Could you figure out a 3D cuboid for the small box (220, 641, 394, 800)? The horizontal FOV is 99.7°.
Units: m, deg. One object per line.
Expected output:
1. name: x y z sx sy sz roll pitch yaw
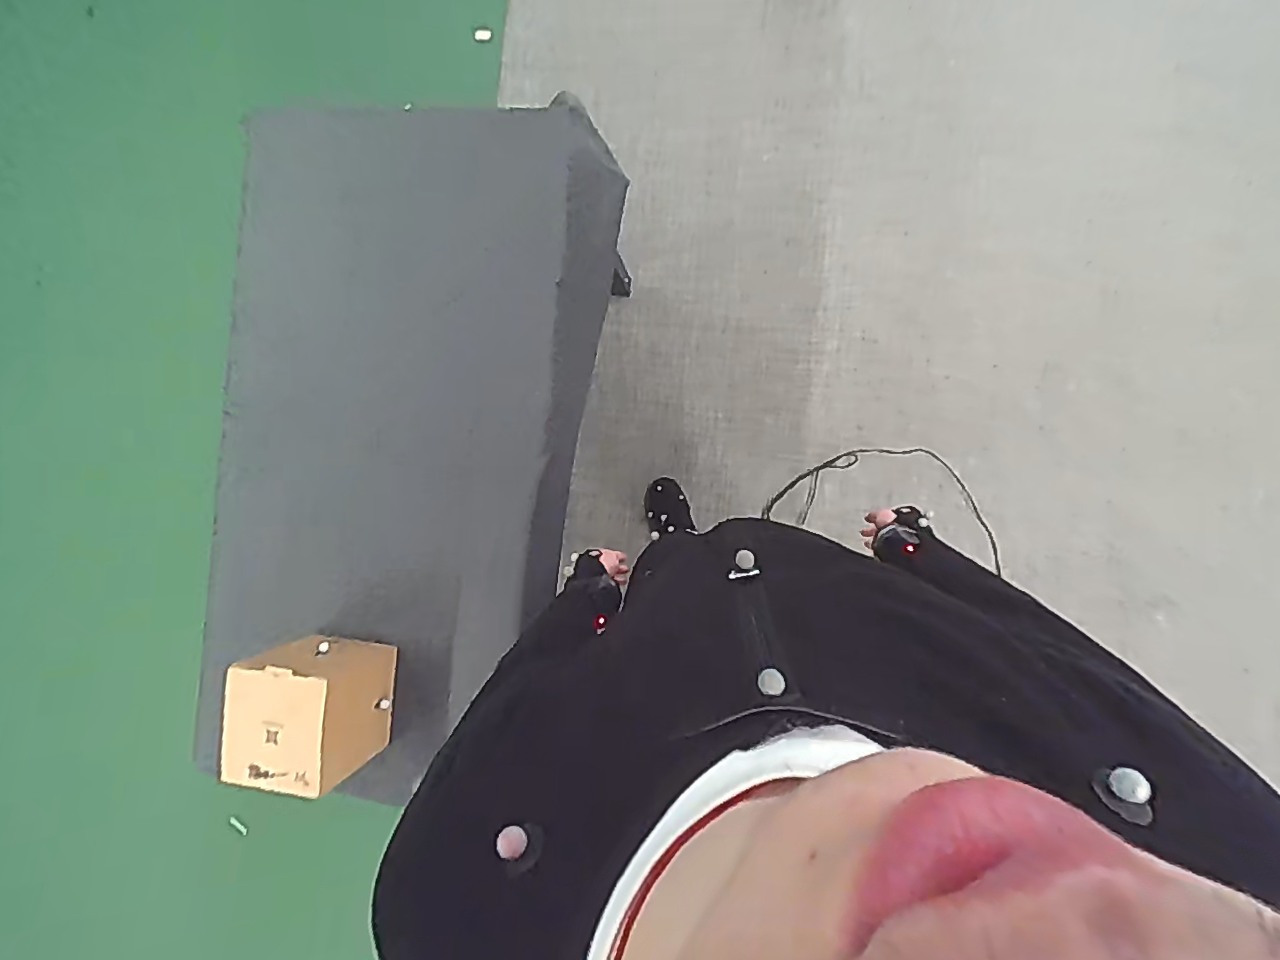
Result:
1. small box: -0.519 0.369 0.867 0.168 0.176 0.179 4 89 9
